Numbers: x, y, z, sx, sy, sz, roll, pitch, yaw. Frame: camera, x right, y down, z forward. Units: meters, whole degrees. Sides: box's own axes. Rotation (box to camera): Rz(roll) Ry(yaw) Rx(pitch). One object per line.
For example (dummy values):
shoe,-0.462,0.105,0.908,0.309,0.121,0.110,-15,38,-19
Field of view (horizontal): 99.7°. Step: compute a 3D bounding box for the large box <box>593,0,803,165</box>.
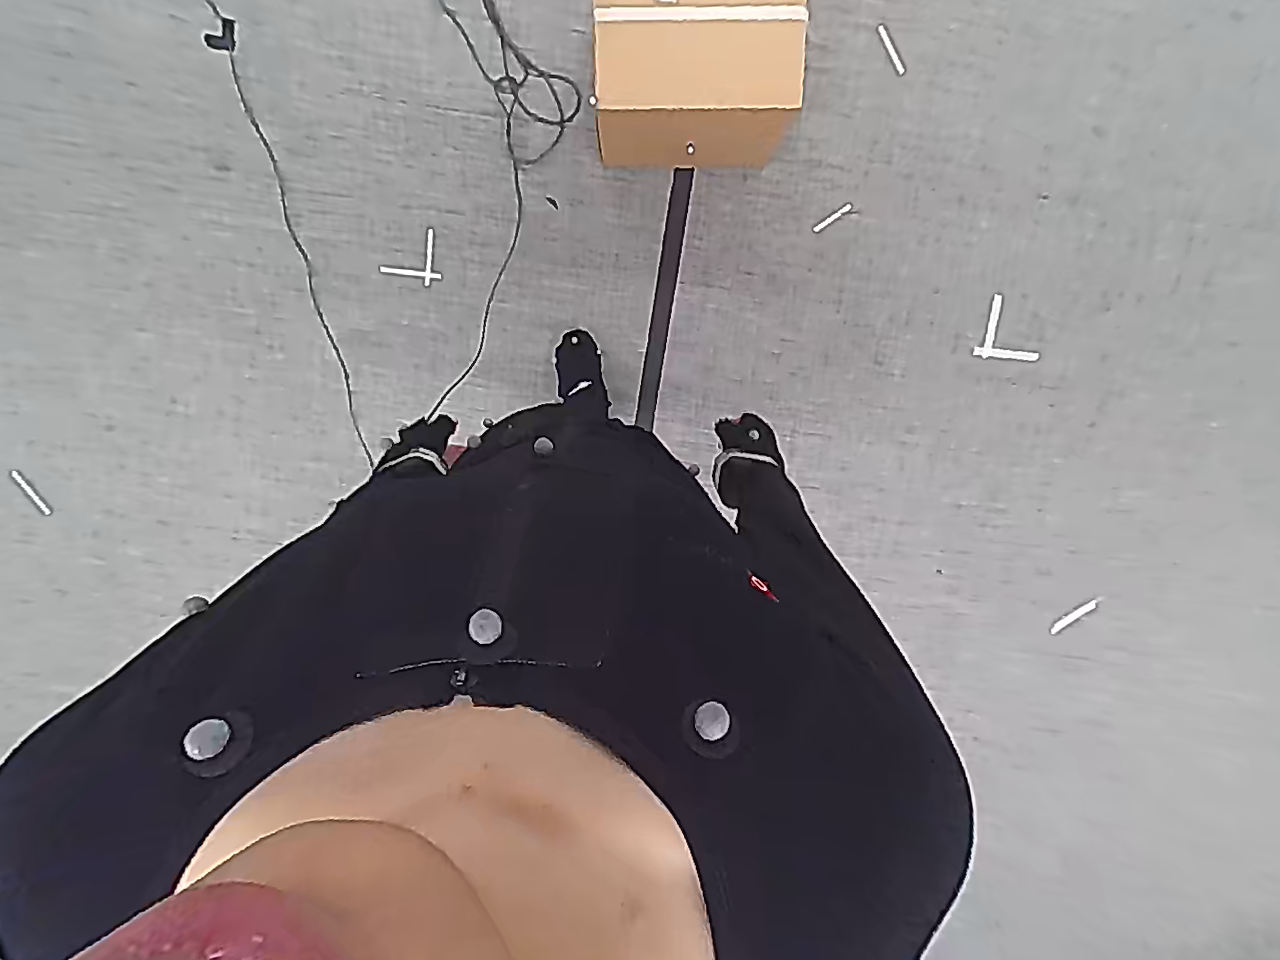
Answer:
large box,0.111,-0.905,1.170,0.408,0.320,0.320,-1,101,0
